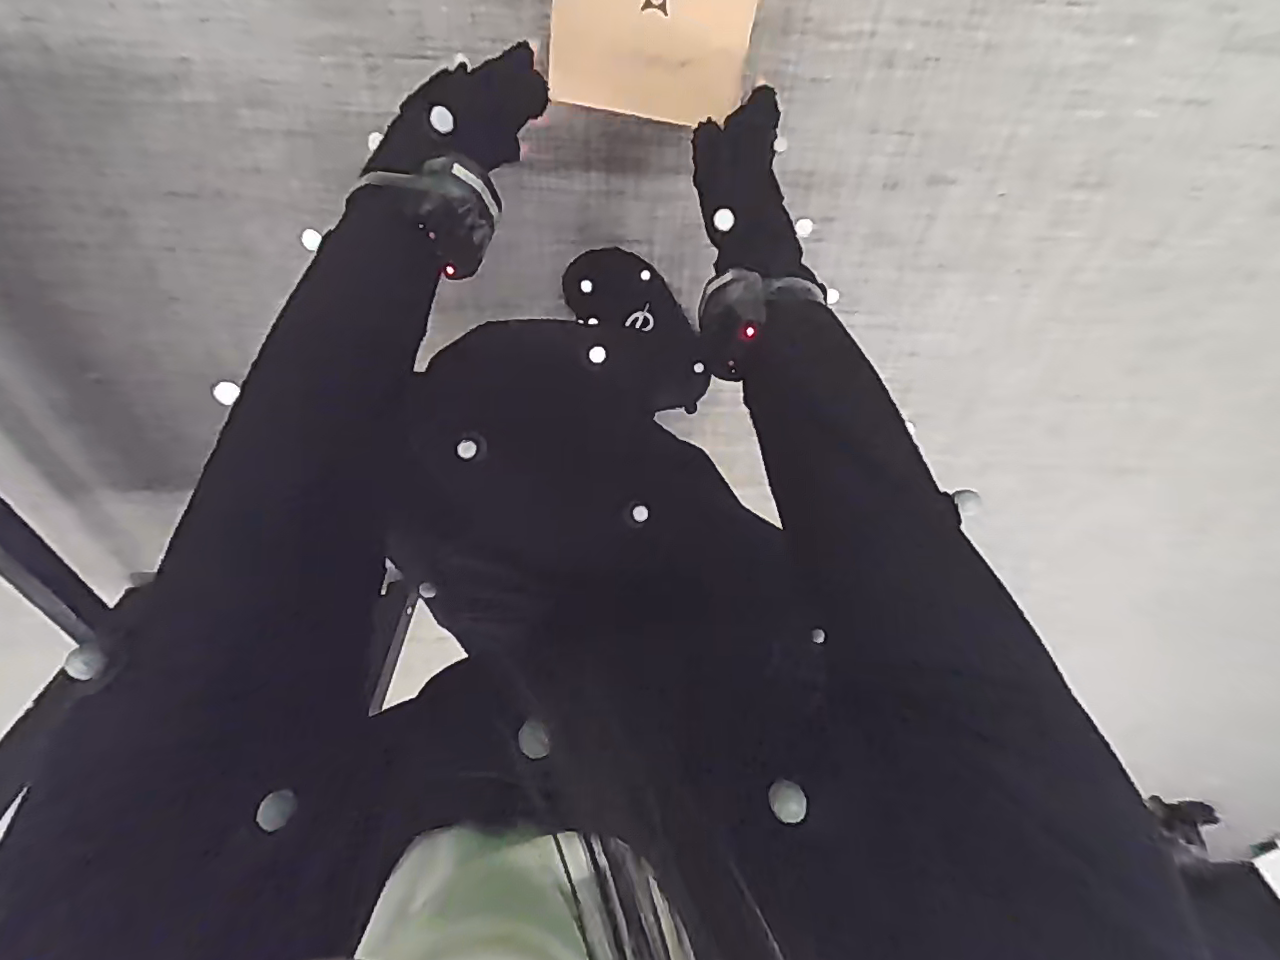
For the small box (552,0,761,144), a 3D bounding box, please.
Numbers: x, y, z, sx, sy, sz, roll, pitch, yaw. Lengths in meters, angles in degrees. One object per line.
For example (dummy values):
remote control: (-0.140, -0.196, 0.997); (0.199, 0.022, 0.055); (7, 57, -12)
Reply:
small box: (0.015, -0.437, 0.496); (0.168, 0.176, 0.179); (7, 131, -6)
